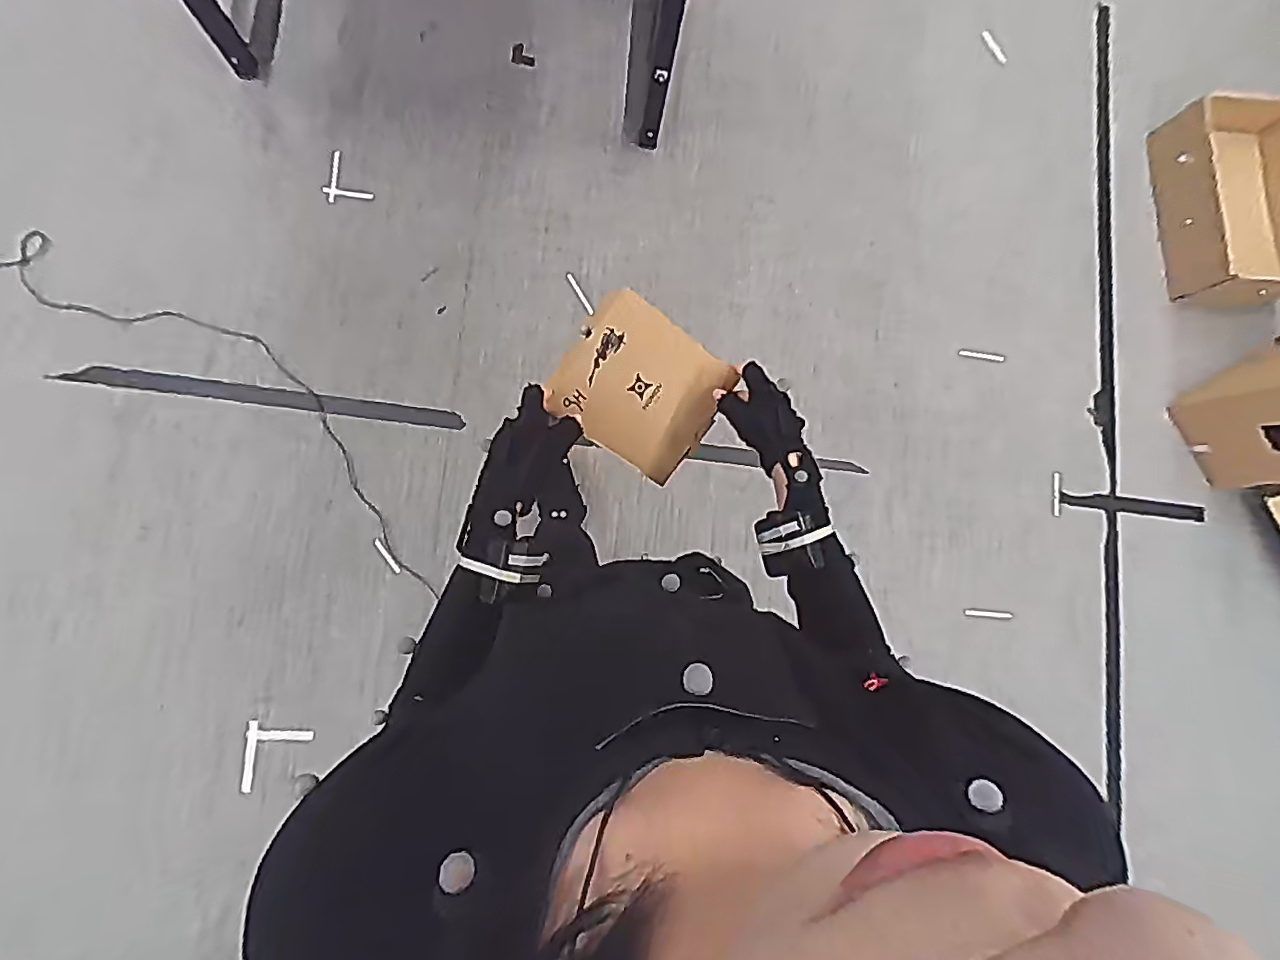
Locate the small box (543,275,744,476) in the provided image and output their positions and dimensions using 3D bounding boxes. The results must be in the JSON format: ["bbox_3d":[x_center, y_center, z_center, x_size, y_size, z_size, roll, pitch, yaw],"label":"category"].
[{"bbox_3d":[-0.006,-0.136,0.687,0.179,0.176,0.168,34,97,-18],"label":"small box"}]
